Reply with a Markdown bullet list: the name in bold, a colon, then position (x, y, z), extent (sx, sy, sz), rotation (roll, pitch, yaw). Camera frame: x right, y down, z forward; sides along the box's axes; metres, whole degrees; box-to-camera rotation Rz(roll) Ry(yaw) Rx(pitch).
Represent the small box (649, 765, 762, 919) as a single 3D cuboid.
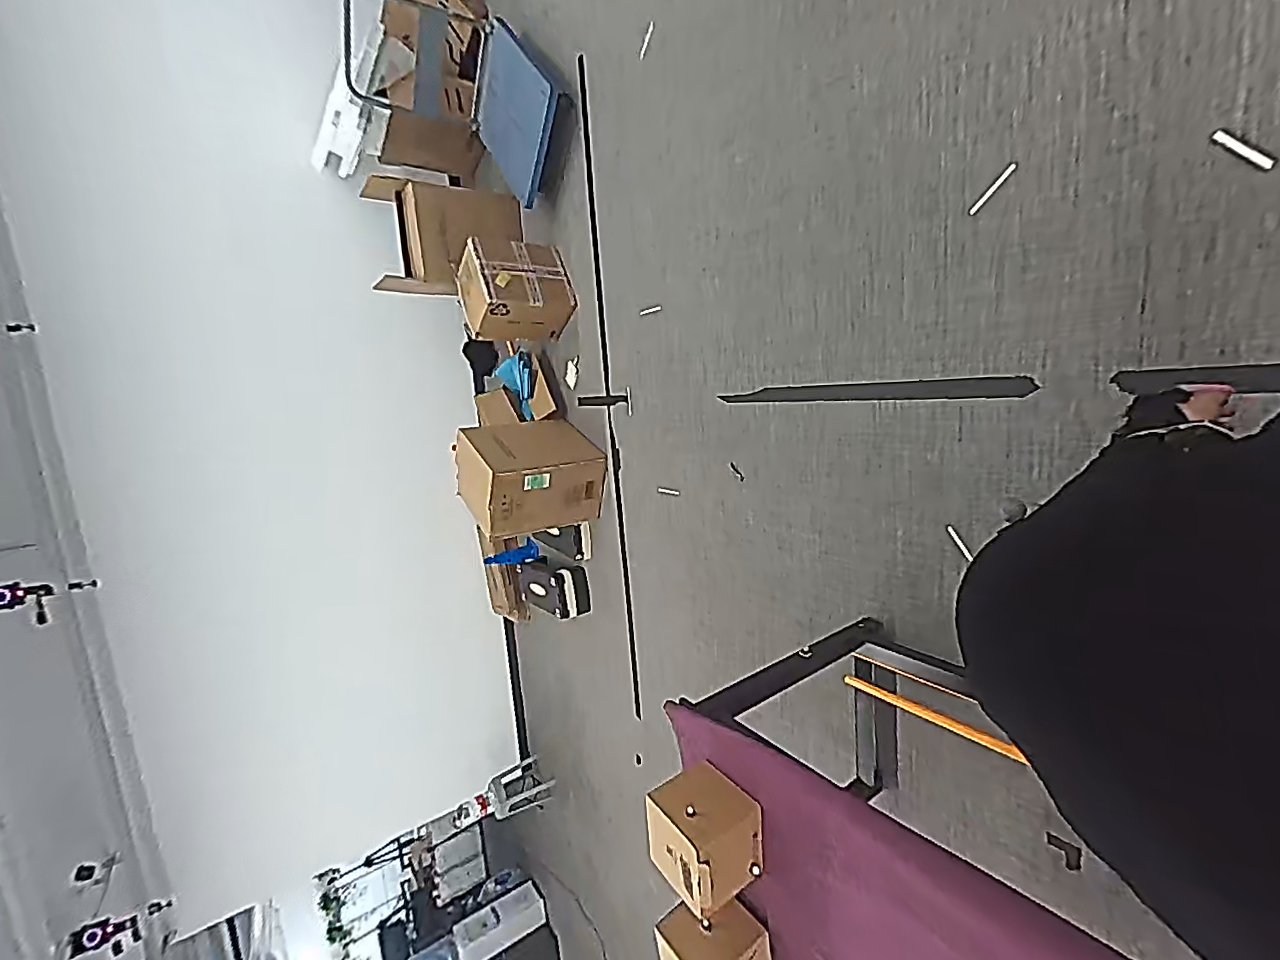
- **small box**: position (0.140, 0.736, 1.124), extent (0.179, 0.176, 0.168), rotation (13, 111, 55)
